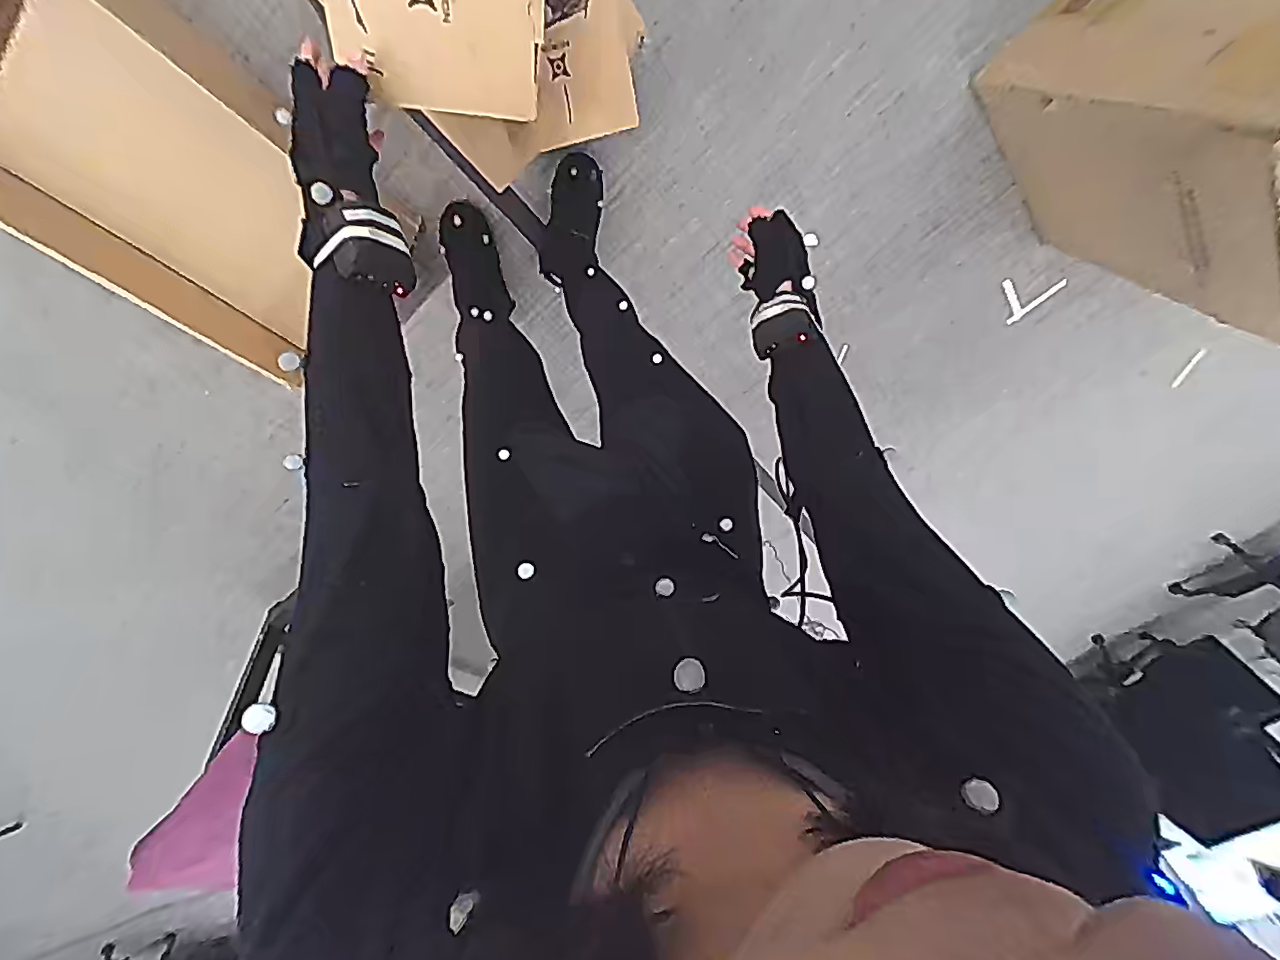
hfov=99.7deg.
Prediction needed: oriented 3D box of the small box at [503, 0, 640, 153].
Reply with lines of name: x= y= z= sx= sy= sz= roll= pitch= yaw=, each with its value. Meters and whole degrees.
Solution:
small box: x=-0.108 y=-0.537 z=0.673 sx=0.168 sy=0.176 sz=0.179 roll=-15 pitch=133 yaw=-1

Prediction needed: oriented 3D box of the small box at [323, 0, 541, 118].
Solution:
small box: x=-0.186 y=-0.457 z=0.503 sx=0.179 sy=0.176 sz=0.168 roll=-1 pitch=130 yaw=-13

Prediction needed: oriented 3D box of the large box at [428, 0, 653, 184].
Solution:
large box: x=-0.249 y=-0.742 z=0.789 sx=0.320 sy=0.320 sz=0.408 roll=-37 pitch=130 yaw=19
